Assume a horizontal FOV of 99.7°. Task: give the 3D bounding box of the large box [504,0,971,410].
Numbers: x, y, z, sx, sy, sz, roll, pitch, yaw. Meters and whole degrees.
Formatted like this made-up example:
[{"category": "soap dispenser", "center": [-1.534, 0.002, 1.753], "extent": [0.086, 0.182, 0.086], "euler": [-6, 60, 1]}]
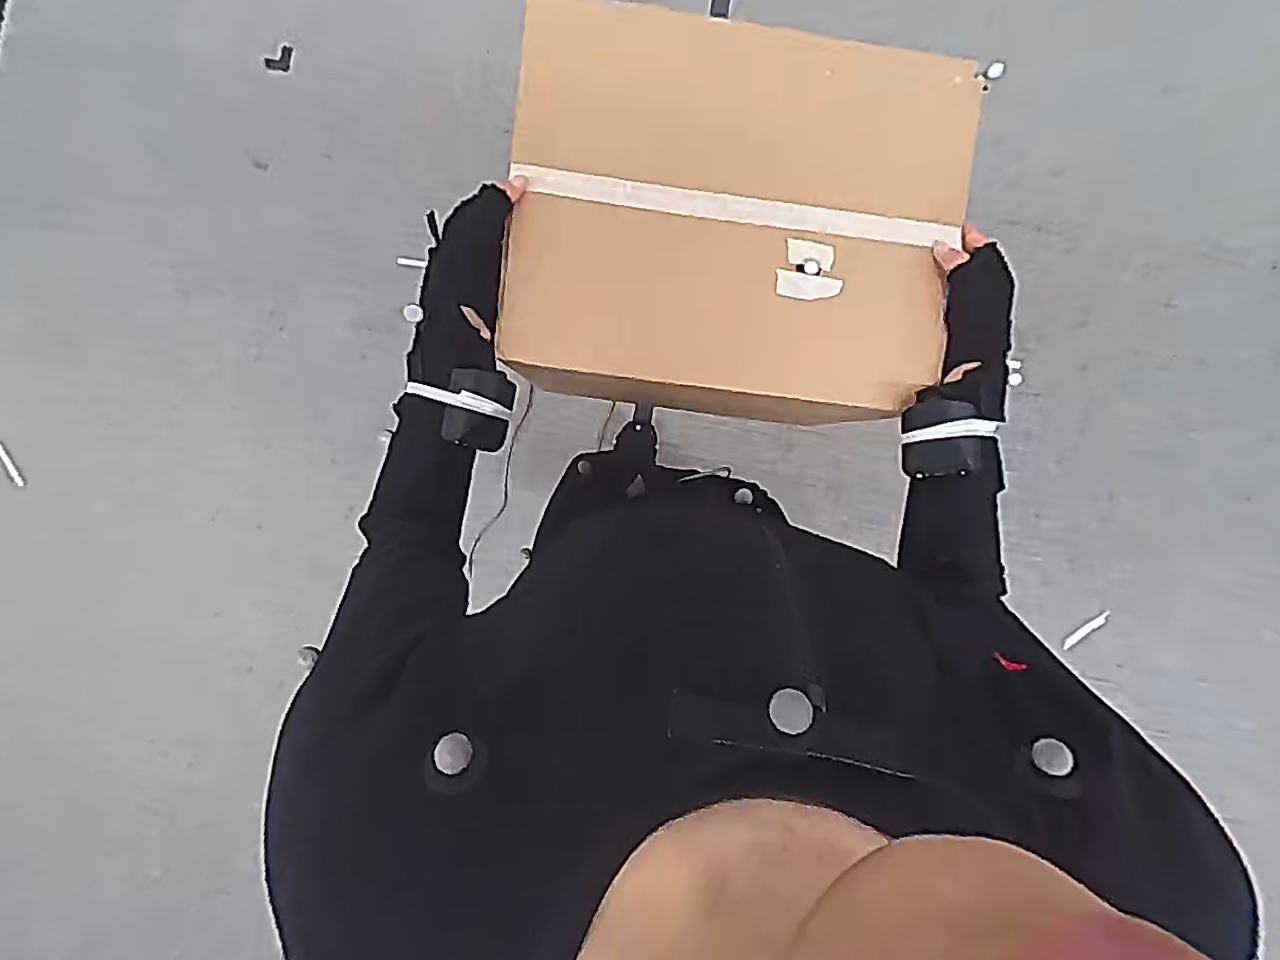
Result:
[{"category": "large box", "center": [0.078, -0.264, 0.637], "extent": [0.408, 0.320, 0.320], "euler": [7, 95, -4]}]
